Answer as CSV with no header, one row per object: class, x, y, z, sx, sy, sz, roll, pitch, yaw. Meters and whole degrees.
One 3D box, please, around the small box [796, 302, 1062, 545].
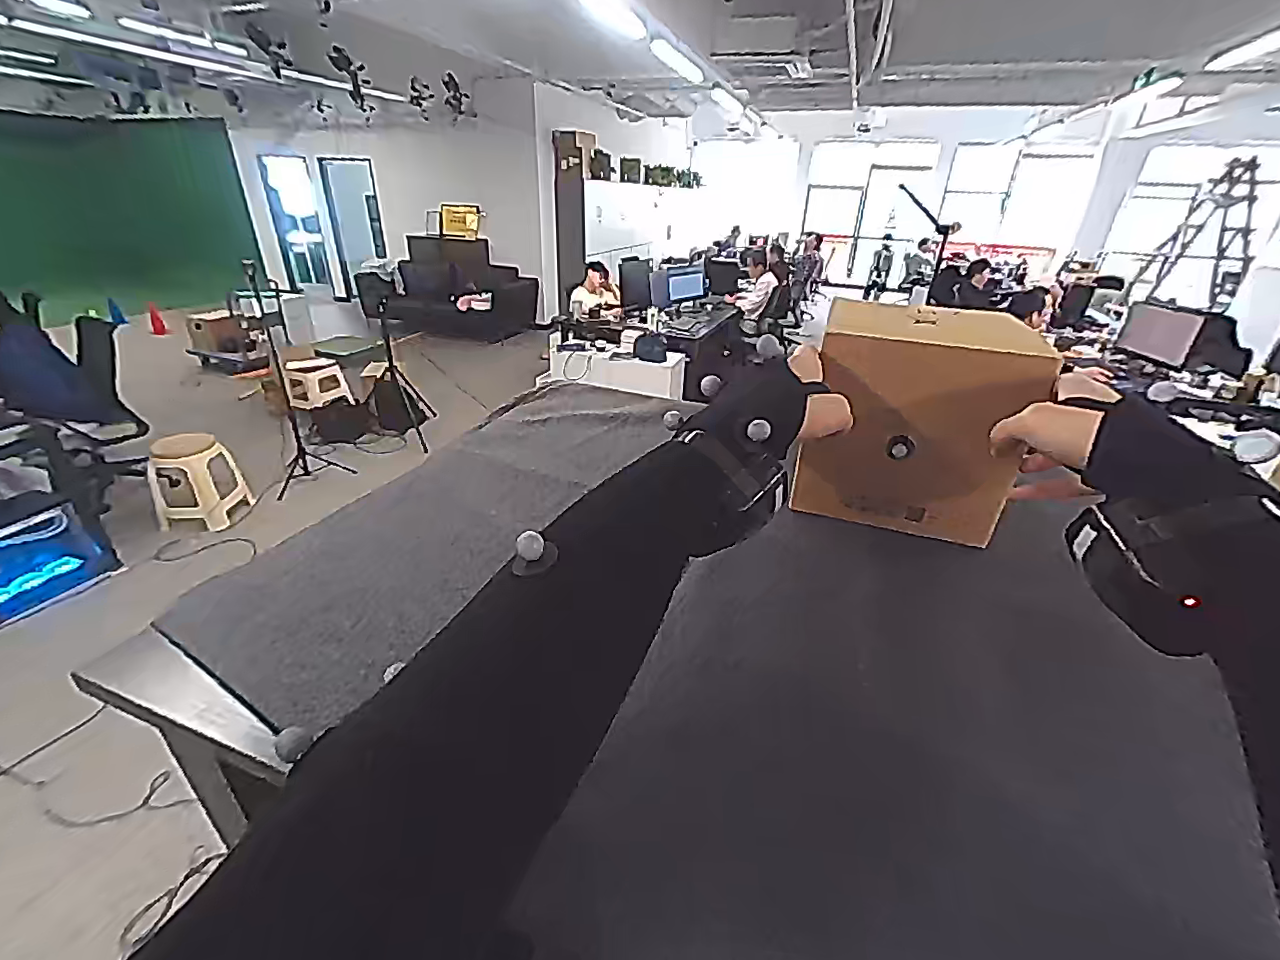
small box,0.248,-0.061,0.509,0.168,0.176,0.179,12,29,16
